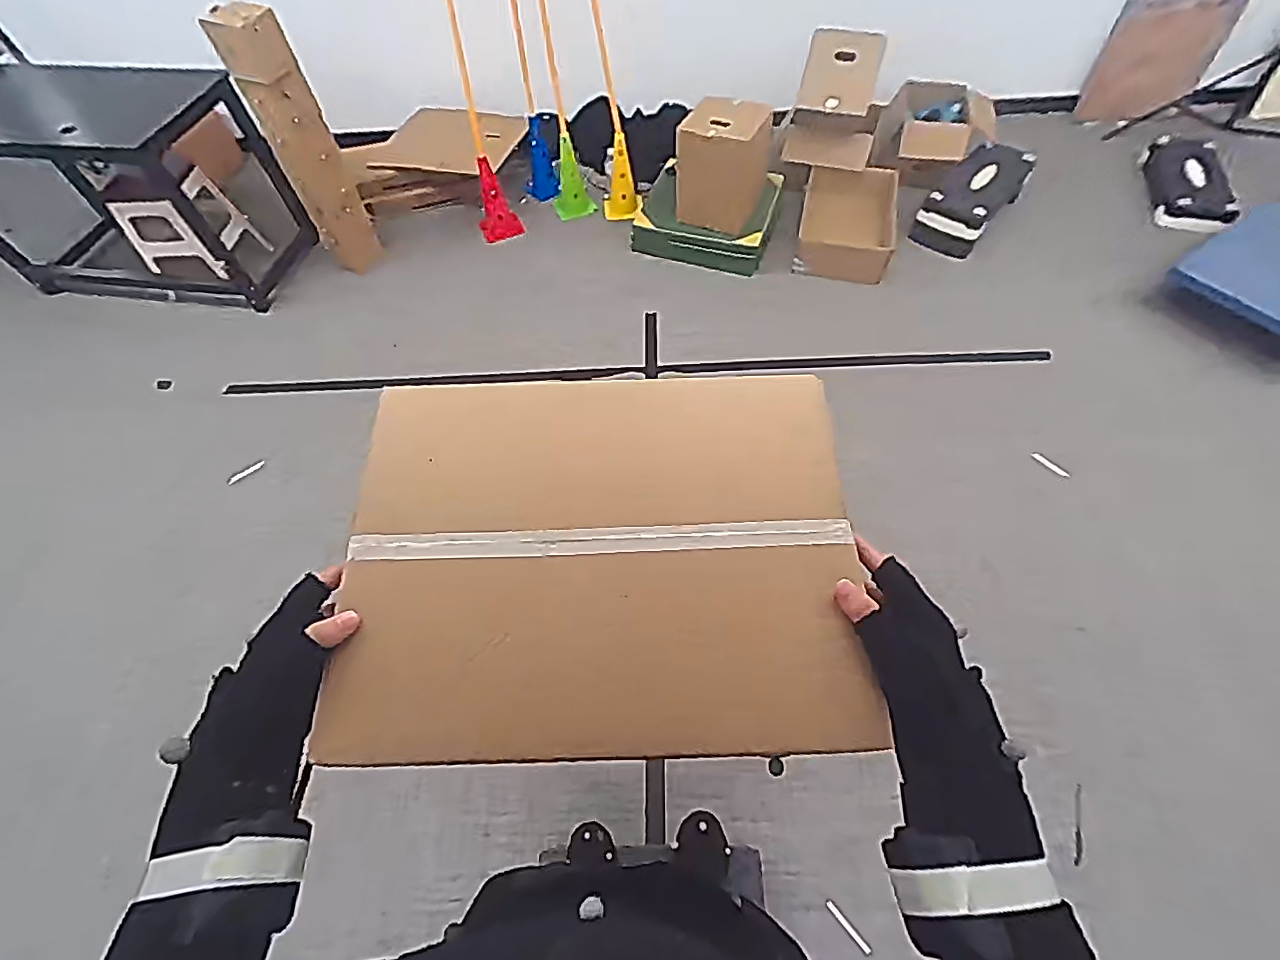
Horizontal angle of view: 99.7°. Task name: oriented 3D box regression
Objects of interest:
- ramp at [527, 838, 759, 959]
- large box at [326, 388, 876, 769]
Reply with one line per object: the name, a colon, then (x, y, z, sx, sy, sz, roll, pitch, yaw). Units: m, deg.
ramp: (0.009, 1.268, 1.028, 0.509, 0.206, 0.991, -2, 58, -1)
large box: (-0.030, 0.119, 0.582, 0.408, 0.320, 0.320, -1, 64, -1)
